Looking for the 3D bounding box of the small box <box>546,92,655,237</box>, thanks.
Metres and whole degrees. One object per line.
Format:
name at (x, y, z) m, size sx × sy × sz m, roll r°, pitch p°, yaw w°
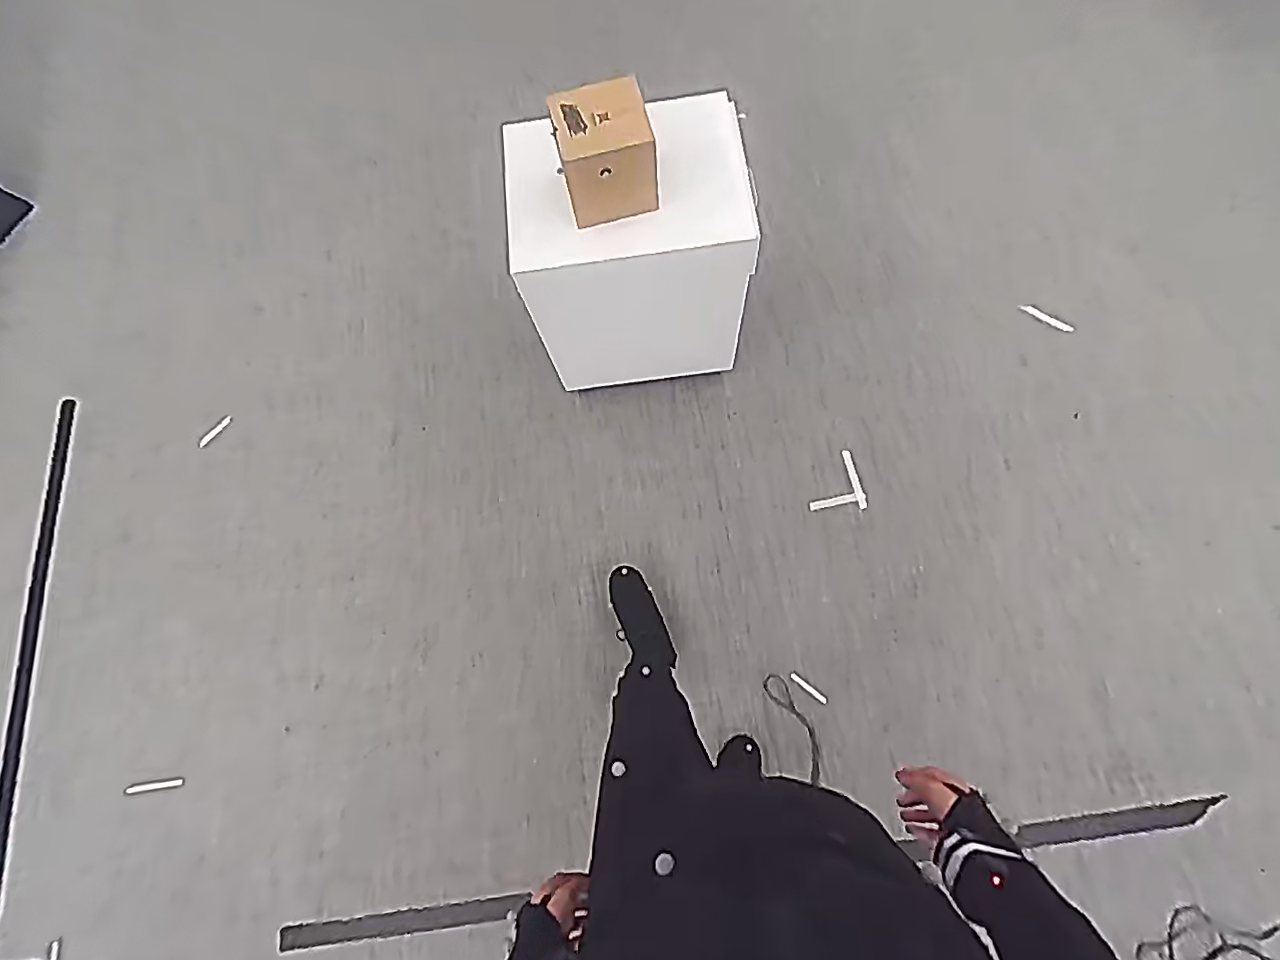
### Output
small box at (-0.072, -0.619, 1.079) m, size 0.179 × 0.176 × 0.168 m, roll -14°, pitch 73°, yaw -1°
